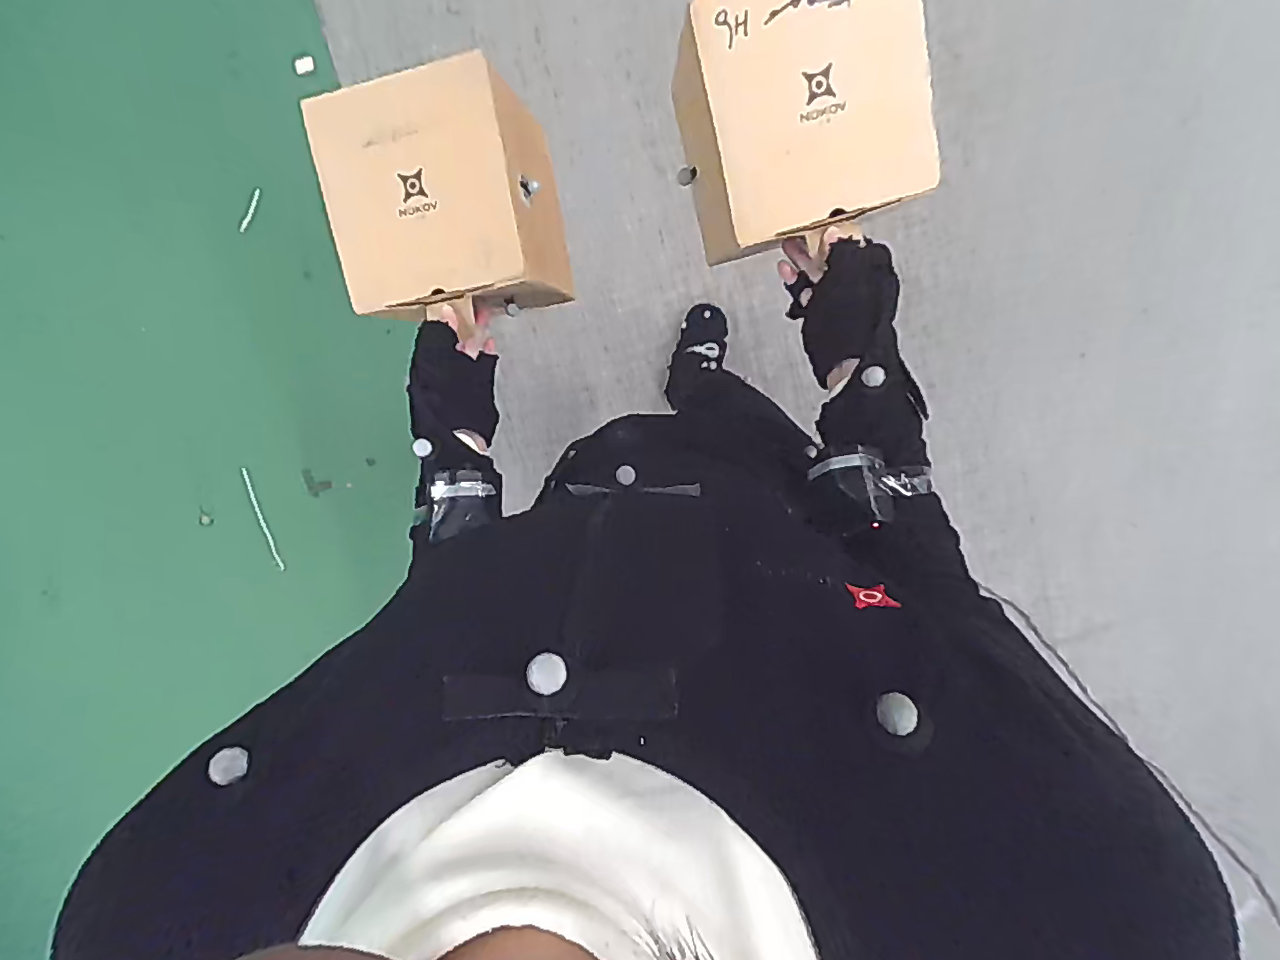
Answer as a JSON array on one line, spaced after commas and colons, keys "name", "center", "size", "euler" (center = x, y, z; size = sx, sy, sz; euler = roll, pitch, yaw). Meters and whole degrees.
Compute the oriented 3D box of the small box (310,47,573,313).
[{"name": "small box", "center": [-0.176, -0.269, 0.538], "size": [0.168, 0.176, 0.179], "euler": [-8, 101, 10]}]
